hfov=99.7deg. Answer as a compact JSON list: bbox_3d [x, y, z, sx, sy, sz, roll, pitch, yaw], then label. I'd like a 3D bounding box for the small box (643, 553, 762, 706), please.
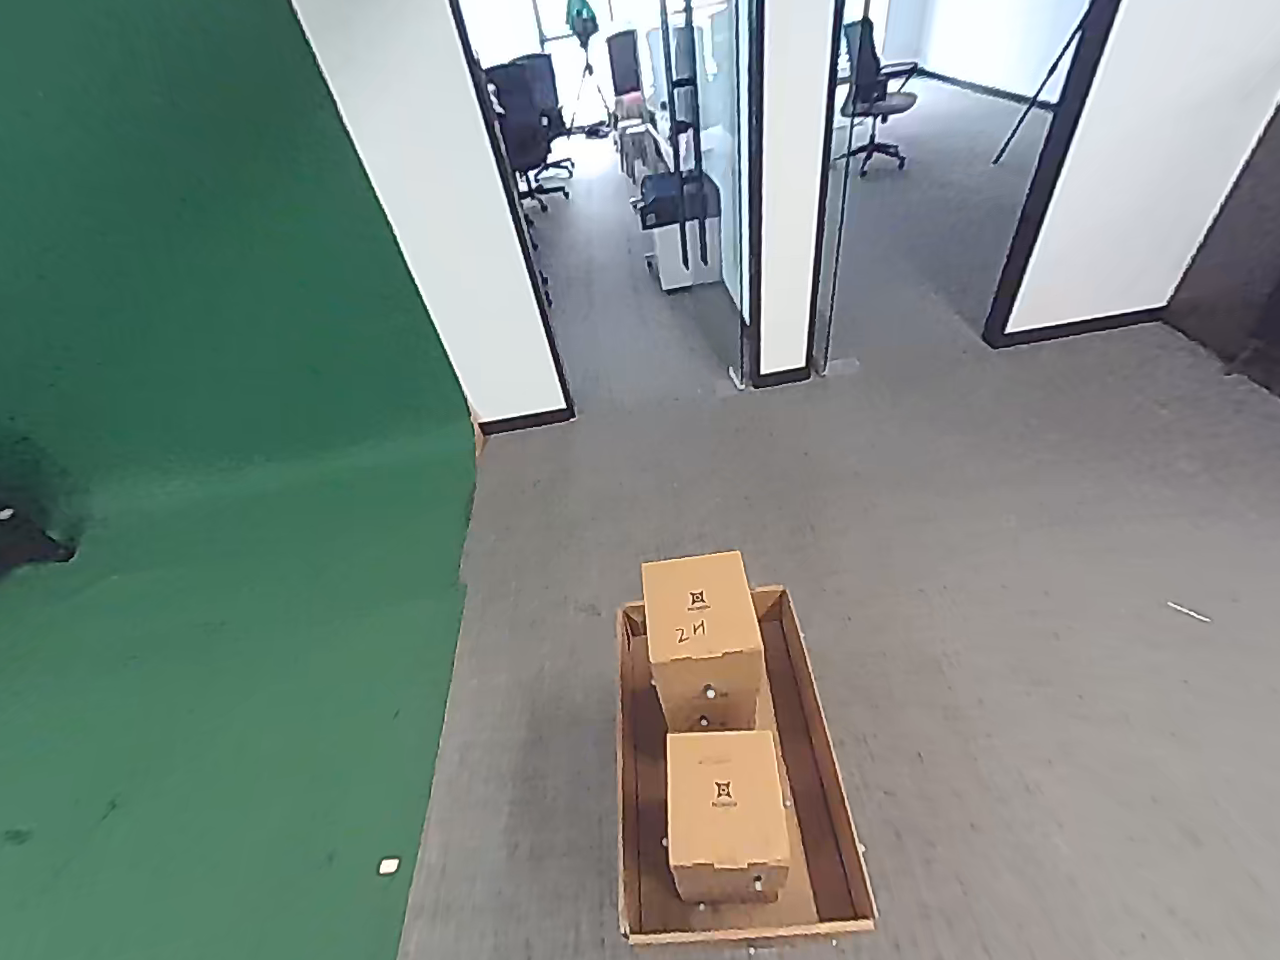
[{"bbox_3d":[0.098,0.245,0.884,0.168,0.176,0.179,-8,46,3],"label":"small box"}]

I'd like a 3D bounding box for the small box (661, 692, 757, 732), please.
[{"bbox_3d":[0.119,0.350,1.011,0.168,0.176,0.179,-6,46,4],"label":"small box"}]

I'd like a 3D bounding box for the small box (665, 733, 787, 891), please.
[{"bbox_3d":[0.128,0.512,0.832,0.168,0.176,0.179,-4,43,6],"label":"small box"}]

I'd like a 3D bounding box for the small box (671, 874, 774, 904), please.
[{"bbox_3d":[0.141,0.624,0.949,0.168,0.176,0.179,-6,42,5],"label":"small box"}]
